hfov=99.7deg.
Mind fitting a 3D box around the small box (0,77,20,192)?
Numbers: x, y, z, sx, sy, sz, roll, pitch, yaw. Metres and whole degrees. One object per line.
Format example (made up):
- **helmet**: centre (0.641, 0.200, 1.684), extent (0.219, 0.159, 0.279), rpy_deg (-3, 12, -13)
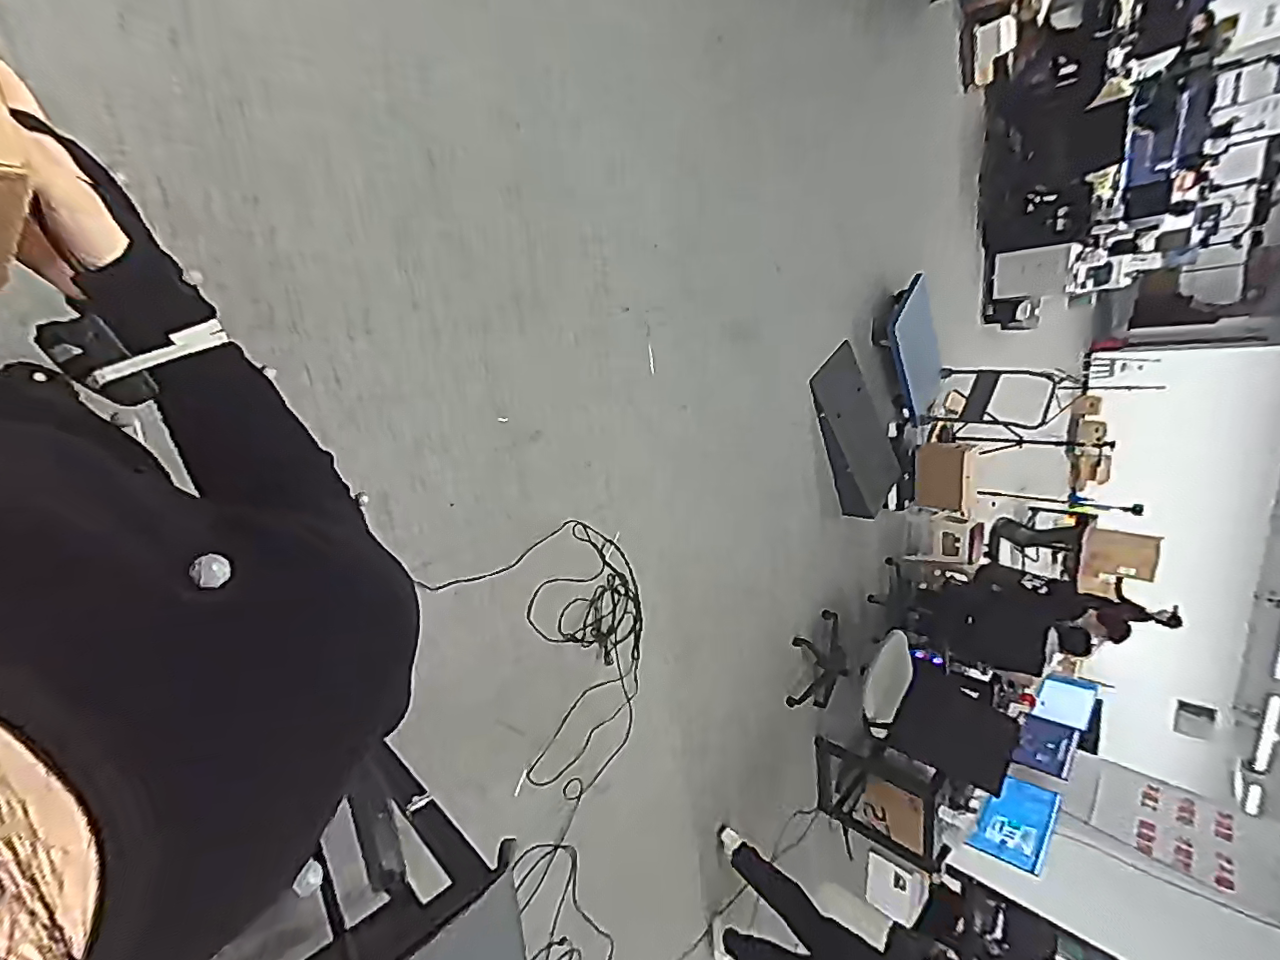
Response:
- **small box**: centre (-0.397, -0.199, 0.201), extent (0.168, 0.176, 0.179), rpy_deg (-29, 108, -52)
